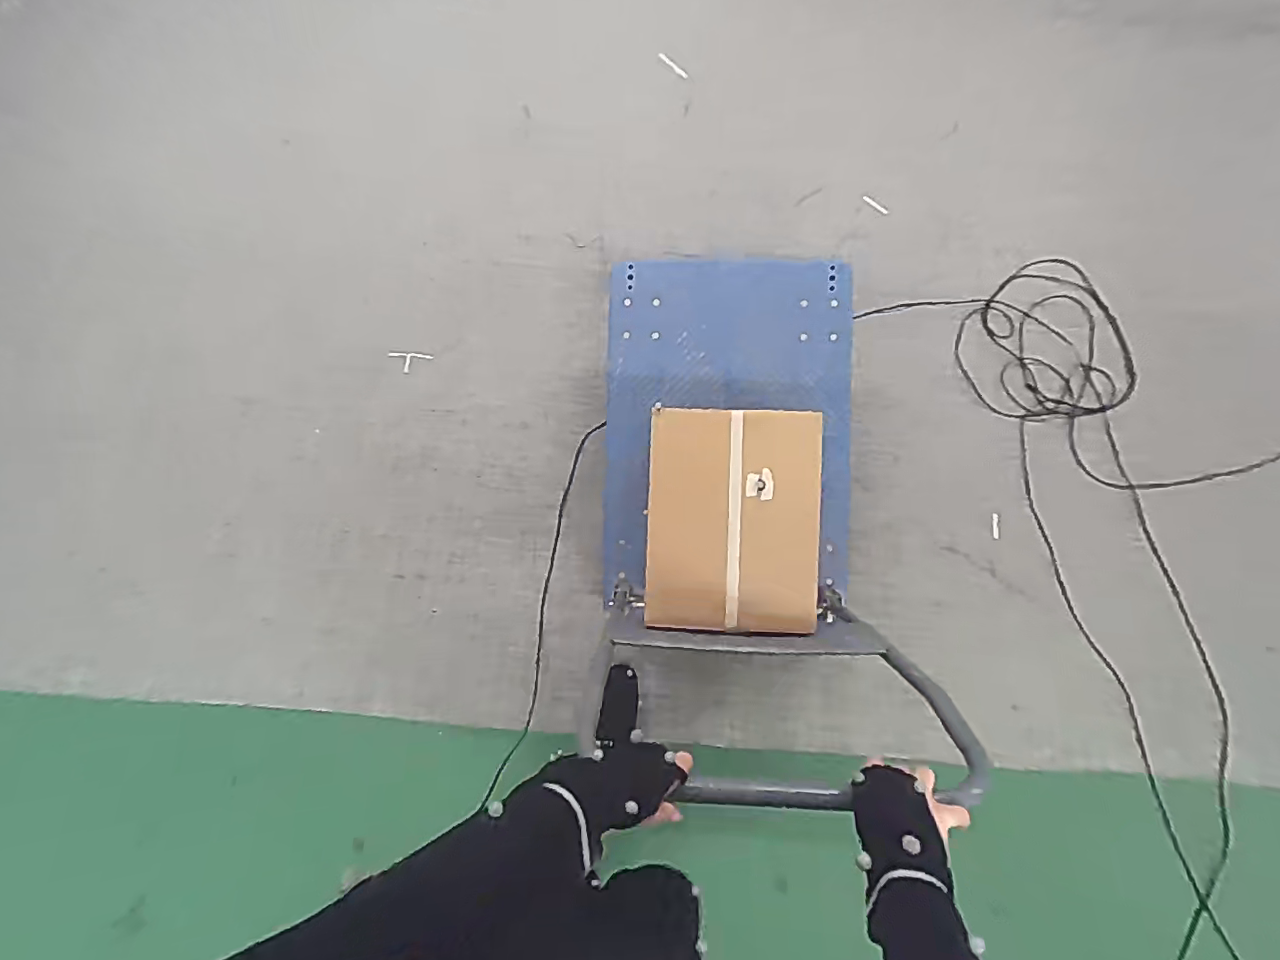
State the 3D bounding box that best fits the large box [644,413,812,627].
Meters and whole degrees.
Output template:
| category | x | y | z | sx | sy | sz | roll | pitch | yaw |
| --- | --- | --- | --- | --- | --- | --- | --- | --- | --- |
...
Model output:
| category | x | y | z | sx | sy | sz | roll | pitch | yaw |
| --- | --- | --- | --- | --- | --- | --- | --- | --- | --- |
| large box | 0.175 | 0.081 | 1.162 | 0.320 | 0.320 | 0.408 | 2 | 88 | 3 |
